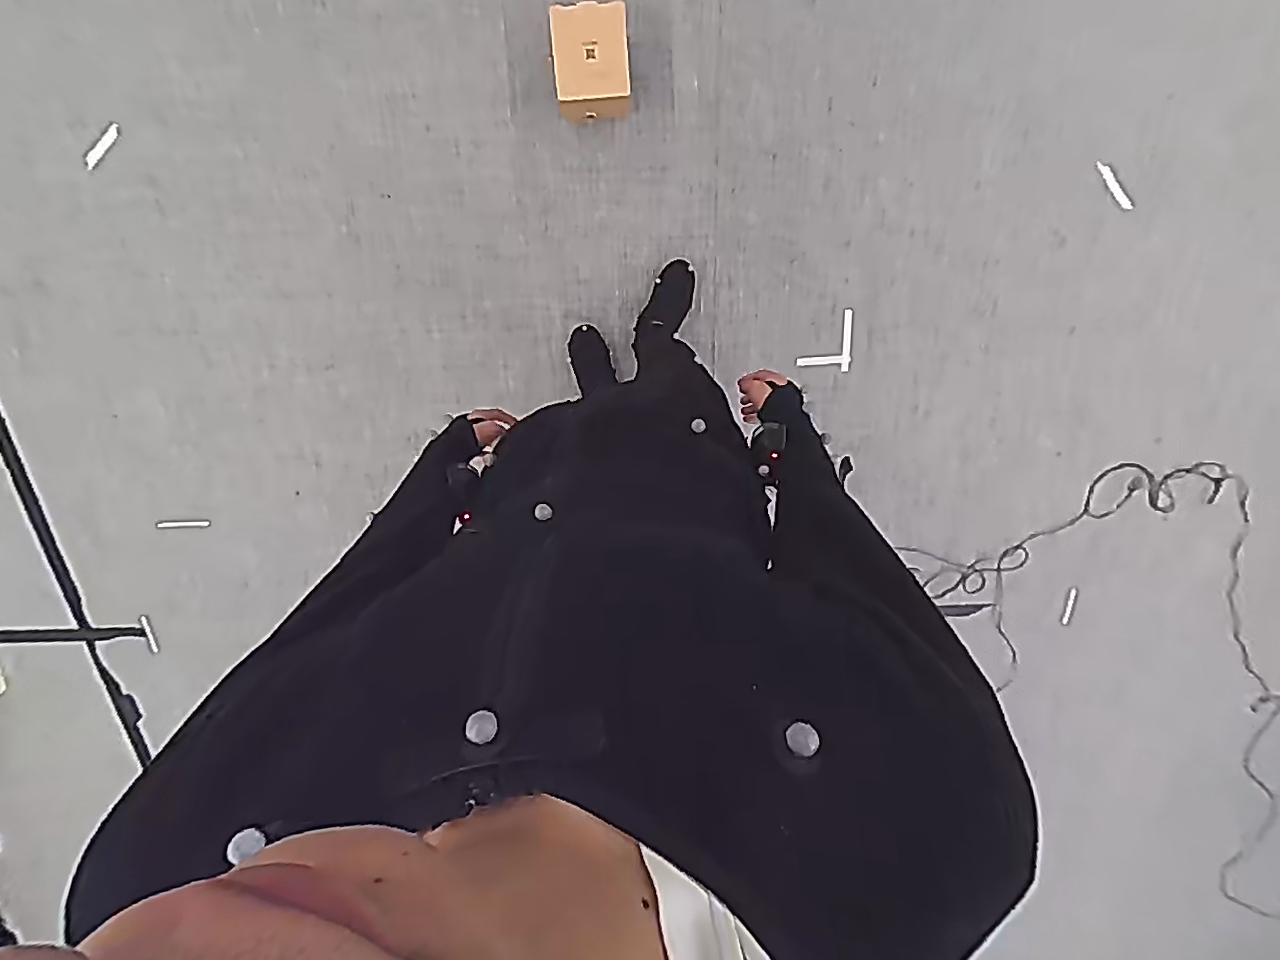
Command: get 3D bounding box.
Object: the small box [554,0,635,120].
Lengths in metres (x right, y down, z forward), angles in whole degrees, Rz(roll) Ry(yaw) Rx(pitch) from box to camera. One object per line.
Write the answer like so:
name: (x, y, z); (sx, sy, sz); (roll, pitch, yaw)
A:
small box: (-0.101, -0.958, 1.245); (0.168, 0.176, 0.179); (-4, 110, 0)
